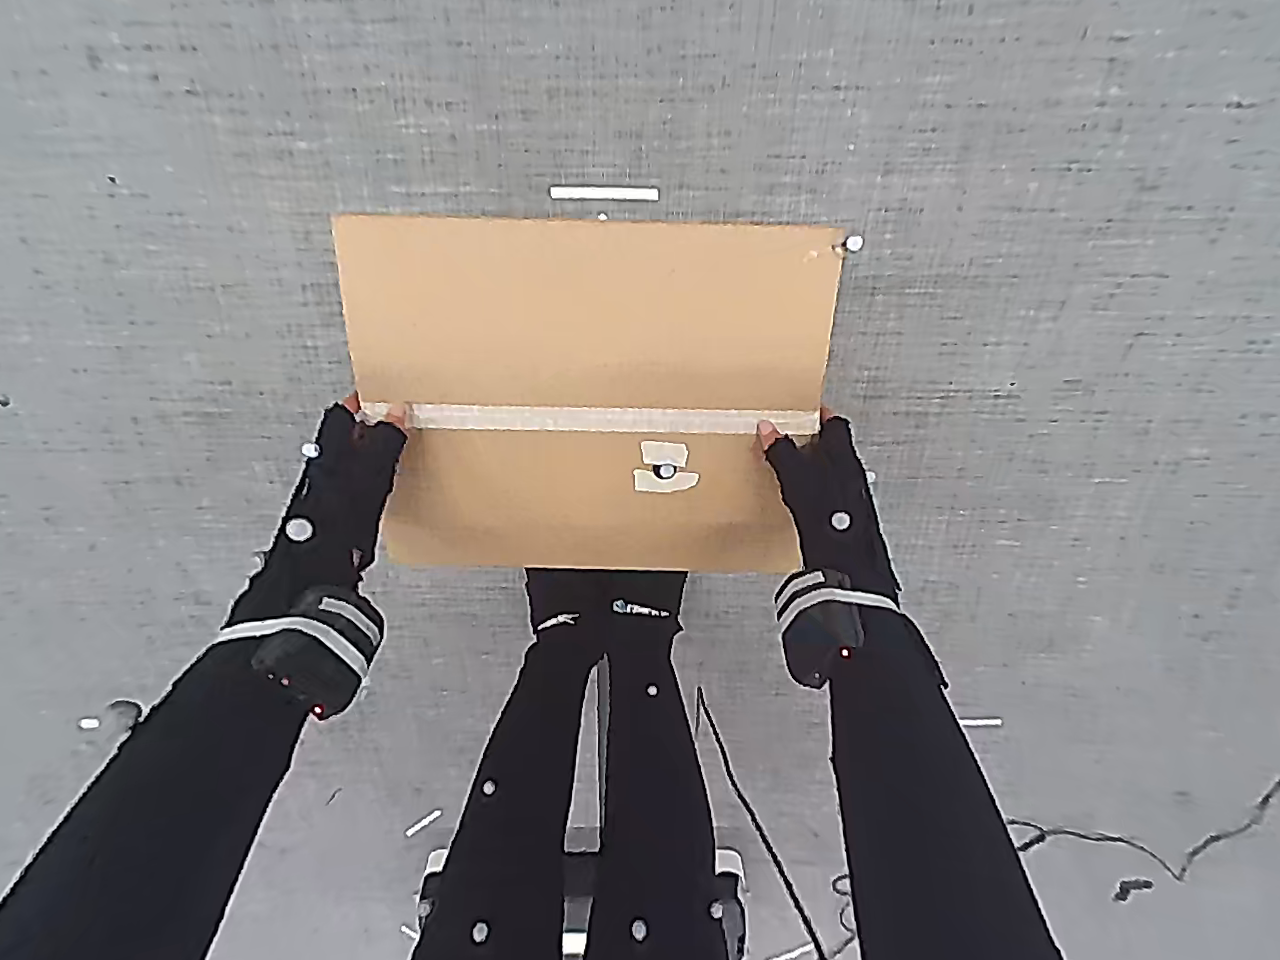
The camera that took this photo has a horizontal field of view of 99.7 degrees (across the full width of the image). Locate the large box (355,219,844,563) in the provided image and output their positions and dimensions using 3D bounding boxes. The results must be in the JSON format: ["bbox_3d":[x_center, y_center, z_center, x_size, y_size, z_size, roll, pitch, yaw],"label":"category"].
[{"bbox_3d":[-0.036,-0.113,0.625,0.408,0.320,0.320,1,112,-1],"label":"large box"}]
